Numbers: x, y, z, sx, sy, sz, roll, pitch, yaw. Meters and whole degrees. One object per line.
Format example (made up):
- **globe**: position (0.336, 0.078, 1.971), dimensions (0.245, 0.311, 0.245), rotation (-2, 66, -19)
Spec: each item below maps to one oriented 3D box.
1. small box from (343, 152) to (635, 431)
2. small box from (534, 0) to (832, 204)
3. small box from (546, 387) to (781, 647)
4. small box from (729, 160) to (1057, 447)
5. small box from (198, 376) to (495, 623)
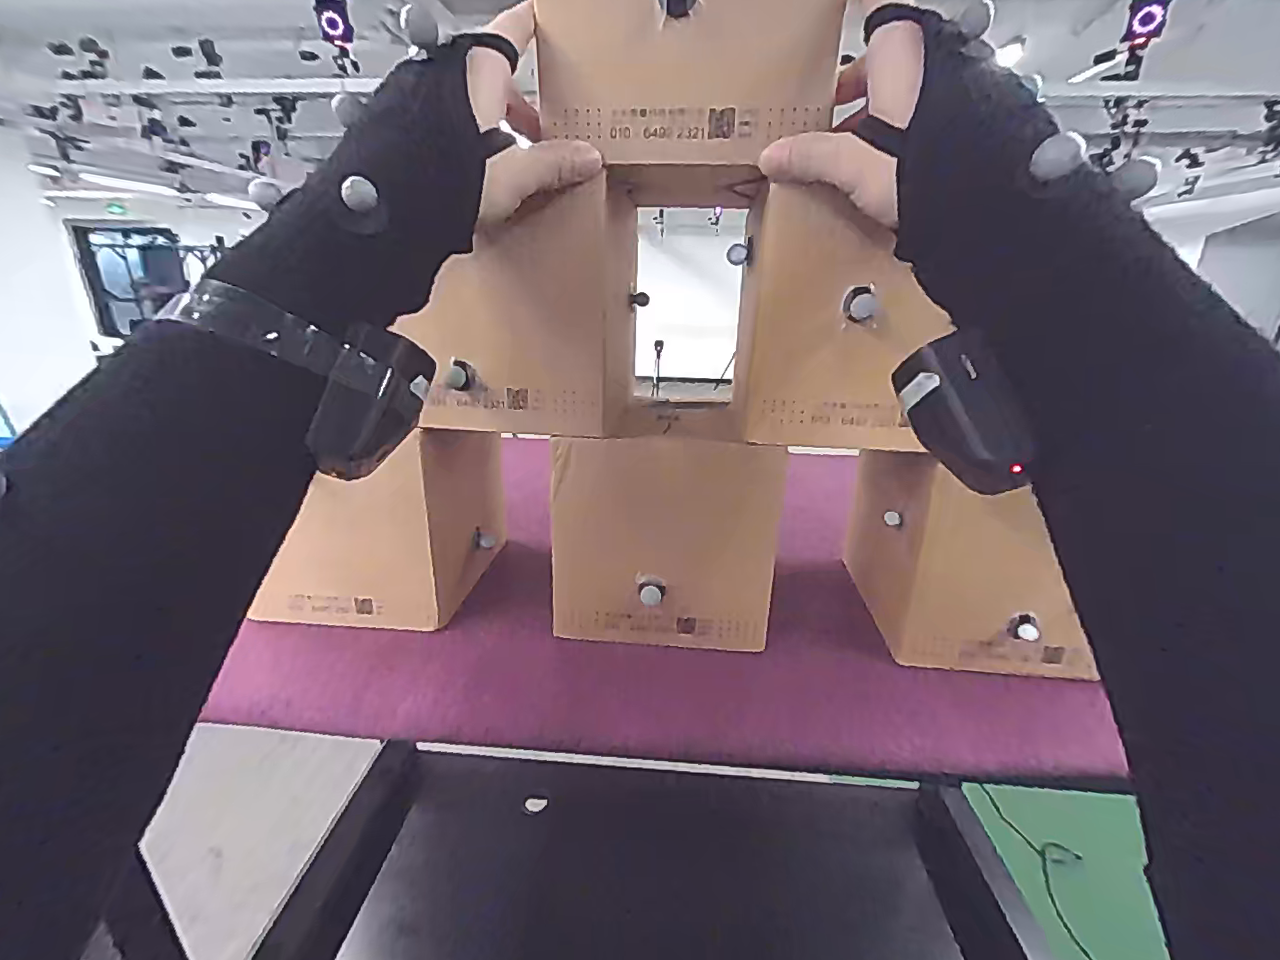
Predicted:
- **small box**: position (-0.098, -0.143, 0.428), dimensions (0.168, 0.176, 0.179), rotation (3, 20, 5)
- **small box**: position (0.030, -0.289, 0.362), dimensions (0.168, 0.176, 0.179), rotation (3, 19, 4)
- **small box**: position (0.018, 0.019, 0.472), dimensions (0.168, 0.176, 0.179), rotation (3, 20, 4)
- **small box**: position (0.158, -0.126, 0.407), dimensions (0.168, 0.176, 0.179), rotation (3, 19, 5)
- **small box**: position (-0.234, 0.005, 0.484), dimensions (0.168, 0.176, 0.179), rotation (2, 19, 3)
